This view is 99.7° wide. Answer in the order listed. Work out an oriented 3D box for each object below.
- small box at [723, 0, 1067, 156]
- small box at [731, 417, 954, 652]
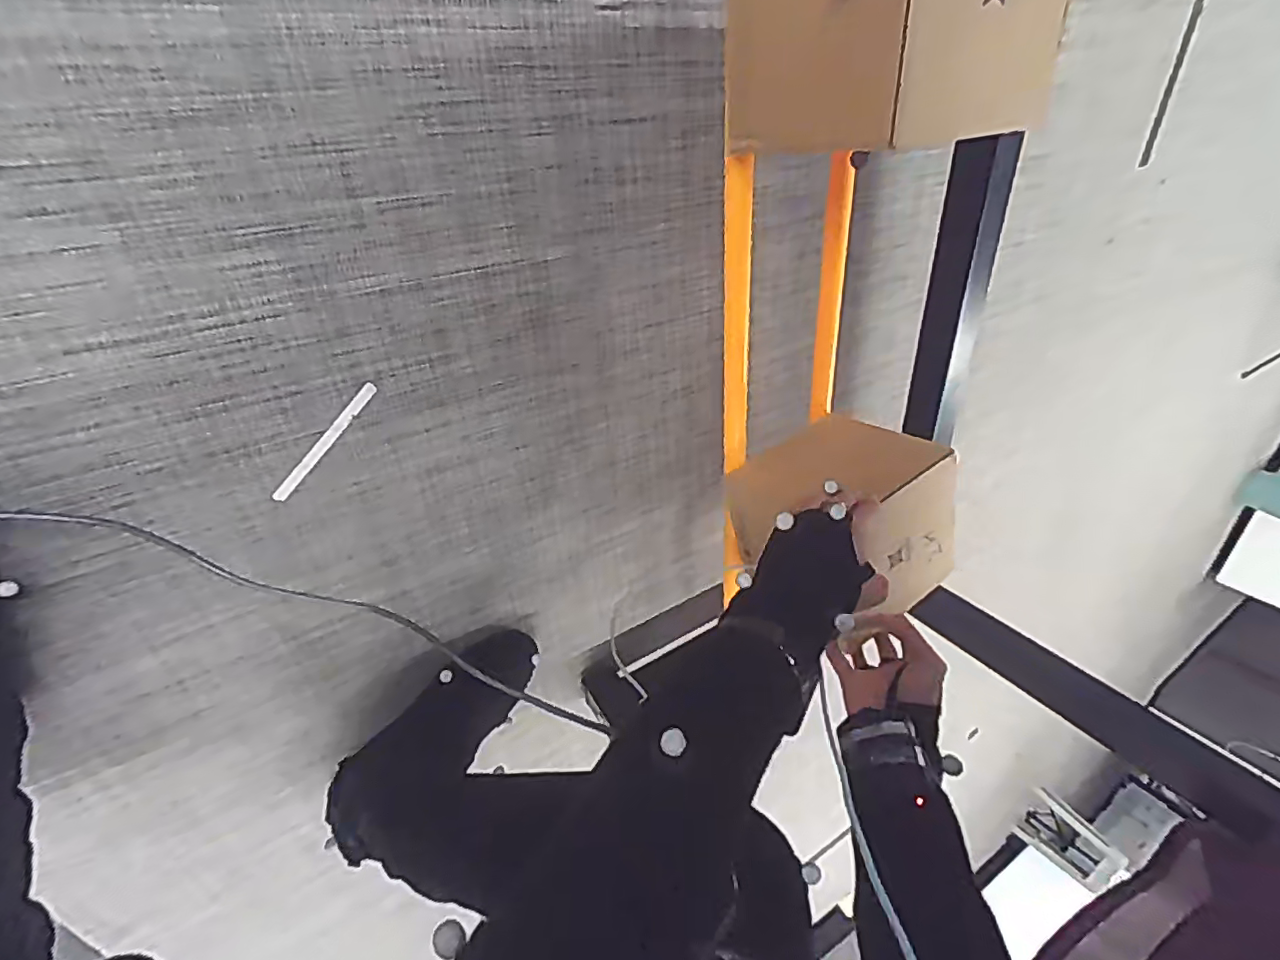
[{"bbox_3d":[0.173,-0.340,0.388,0.168,0.176,0.179,-22,125,-23],"label":"small box"},{"bbox_3d":[0.222,0.049,0.613,0.179,0.176,0.168,-30,122,-18],"label":"small box"}]
